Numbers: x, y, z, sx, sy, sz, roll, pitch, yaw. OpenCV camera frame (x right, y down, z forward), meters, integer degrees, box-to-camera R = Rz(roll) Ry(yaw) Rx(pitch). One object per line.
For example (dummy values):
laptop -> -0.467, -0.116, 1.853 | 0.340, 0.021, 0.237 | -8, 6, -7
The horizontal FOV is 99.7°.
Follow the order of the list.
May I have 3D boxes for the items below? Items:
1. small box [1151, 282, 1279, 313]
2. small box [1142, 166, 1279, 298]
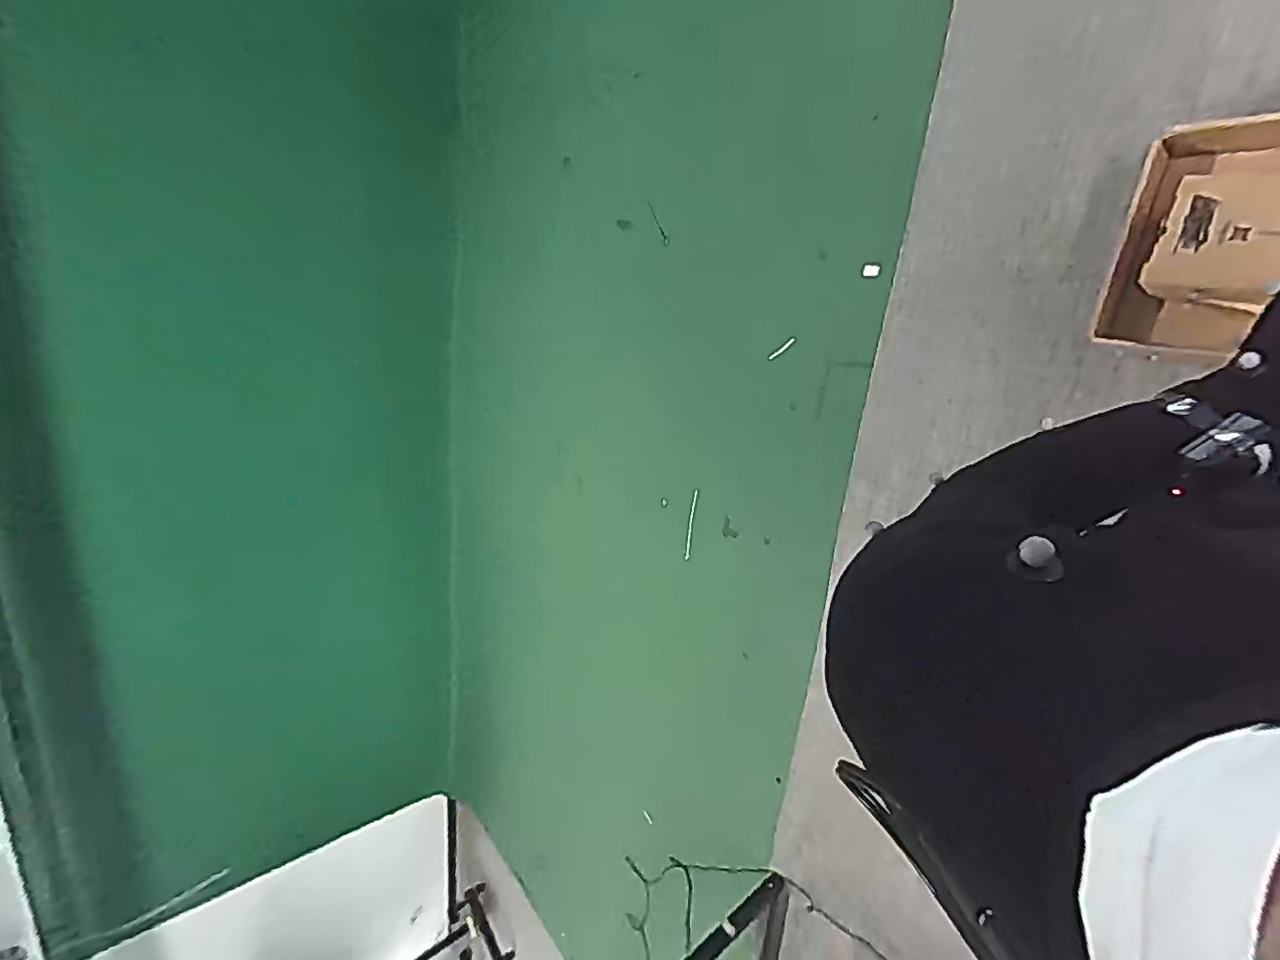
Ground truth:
small box -> 1.100, -0.417, 0.992 | 0.168, 0.176, 0.179 | 37, 121, 39
small box -> 0.977, -0.399, 0.885 | 0.179, 0.176, 0.168 | 28, 116, 42
